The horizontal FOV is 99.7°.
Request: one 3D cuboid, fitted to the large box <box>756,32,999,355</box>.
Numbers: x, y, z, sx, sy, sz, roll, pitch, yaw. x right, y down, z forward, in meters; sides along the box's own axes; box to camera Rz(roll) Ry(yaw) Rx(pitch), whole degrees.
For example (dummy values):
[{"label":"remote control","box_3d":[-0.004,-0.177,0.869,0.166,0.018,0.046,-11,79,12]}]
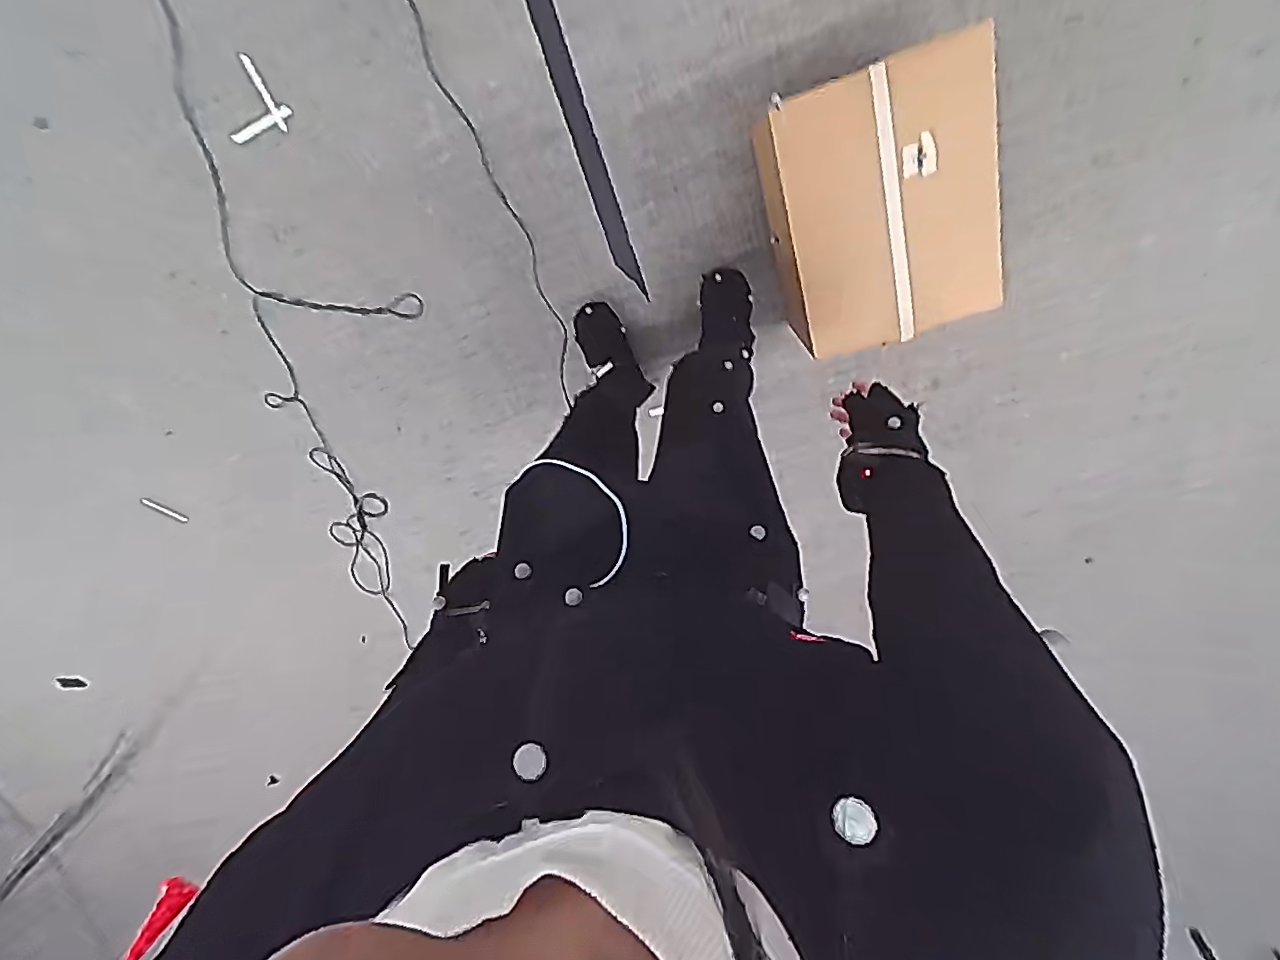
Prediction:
[{"label":"large box","box_3d":[0.422,-0.498,1.010,0.320,0.320,0.408,-14,114,12]}]
